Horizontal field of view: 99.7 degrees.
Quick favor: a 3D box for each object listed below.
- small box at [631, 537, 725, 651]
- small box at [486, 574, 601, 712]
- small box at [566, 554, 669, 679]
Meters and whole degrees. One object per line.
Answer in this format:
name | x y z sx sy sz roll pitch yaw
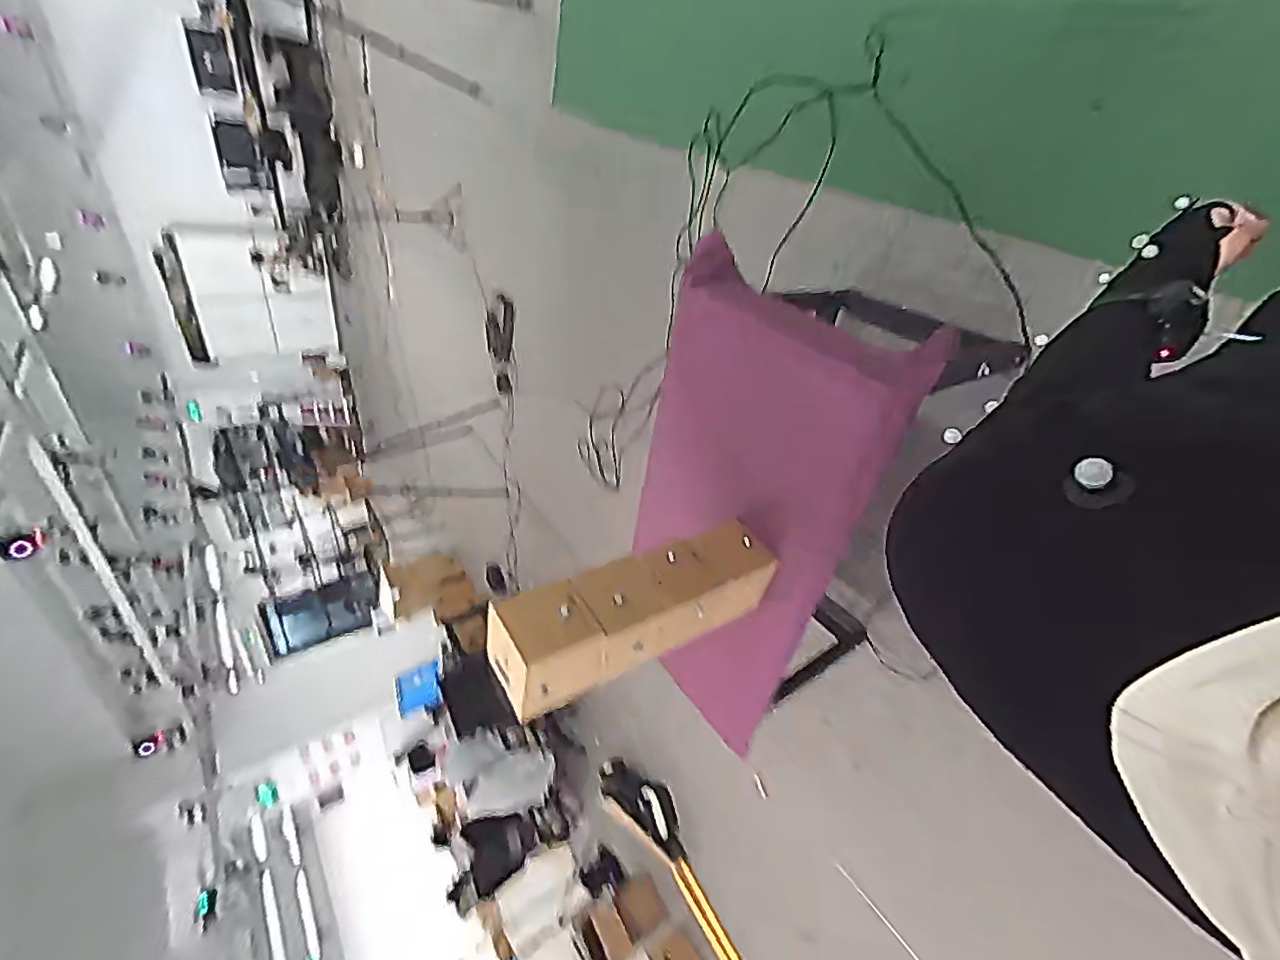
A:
small box | 0.074 0.258 1.260 0.168 0.176 0.179 47 137 35
small box | -0.194 0.320 1.082 0.168 0.176 0.179 46 135 37
small box | -0.061 0.287 1.173 0.179 0.176 0.168 47 136 35
